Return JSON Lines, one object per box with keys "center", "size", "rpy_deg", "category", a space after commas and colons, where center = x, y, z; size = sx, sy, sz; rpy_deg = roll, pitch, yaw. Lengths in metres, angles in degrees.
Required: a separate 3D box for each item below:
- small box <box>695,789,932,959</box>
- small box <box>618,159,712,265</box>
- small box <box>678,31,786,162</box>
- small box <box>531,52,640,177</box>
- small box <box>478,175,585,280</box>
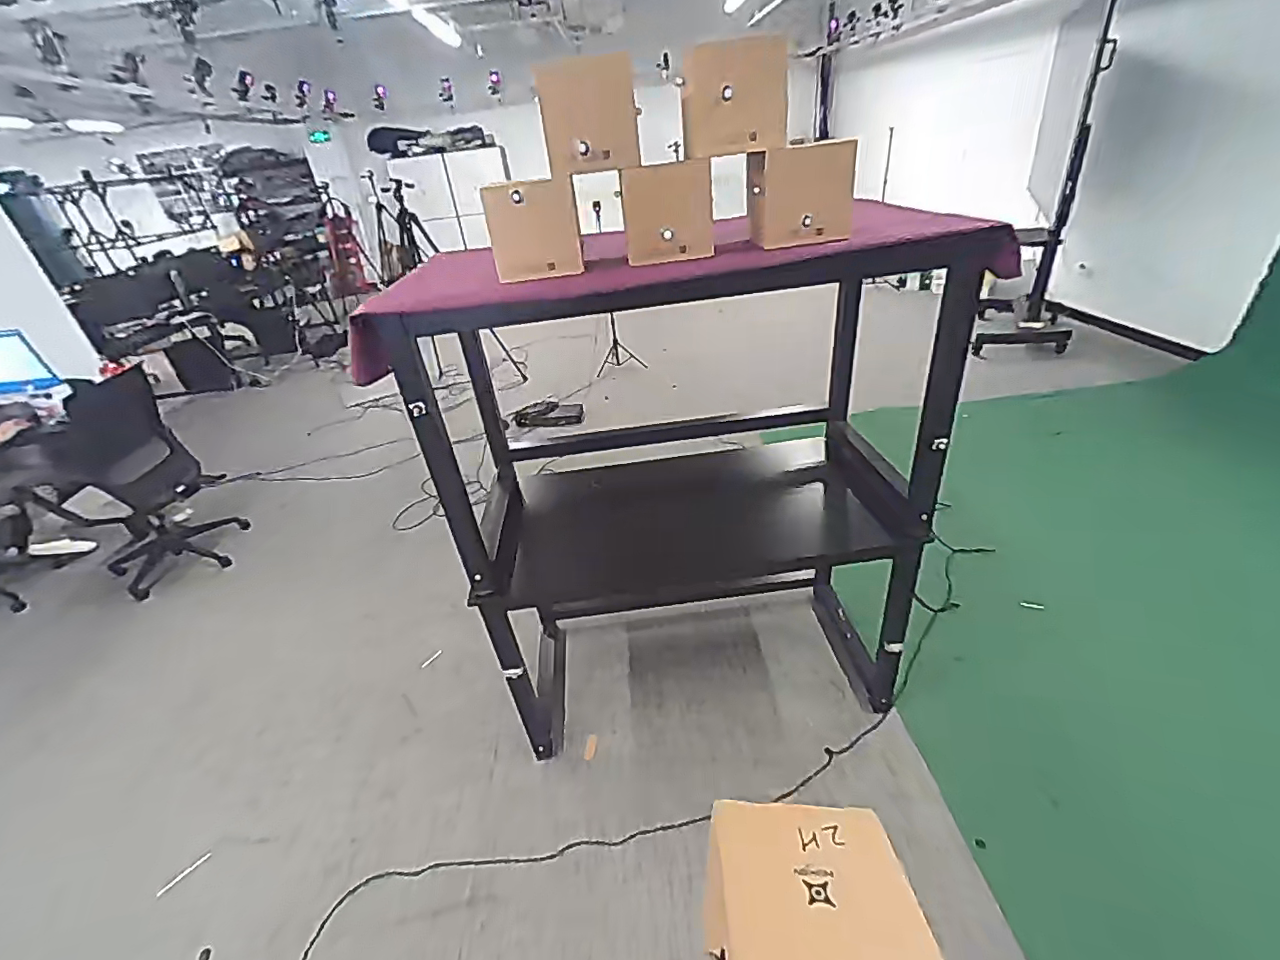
{"center": [0.140, 0.421, 0.489], "size": [0.168, 0.176, 0.179], "rpy_deg": [3, 14, 2], "category": "small box"}
{"center": [0.046, -0.531, 1.072], "size": [0.168, 0.176, 0.179], "rpy_deg": [-7, 31, 0], "category": "small box"}
{"center": [0.165, -0.684, 0.987], "size": [0.168, 0.176, 0.179], "rpy_deg": [-7, 30, 1], "category": "small box"}
{"center": [-0.091, -0.657, 0.991], "size": [0.168, 0.176, 0.179], "rpy_deg": [-7, 31, 2], "category": "small box"}
{"center": [-0.204, -0.499, 1.068], "size": [0.168, 0.176, 0.179], "rpy_deg": [-8, 30, -1], "category": "small box"}
